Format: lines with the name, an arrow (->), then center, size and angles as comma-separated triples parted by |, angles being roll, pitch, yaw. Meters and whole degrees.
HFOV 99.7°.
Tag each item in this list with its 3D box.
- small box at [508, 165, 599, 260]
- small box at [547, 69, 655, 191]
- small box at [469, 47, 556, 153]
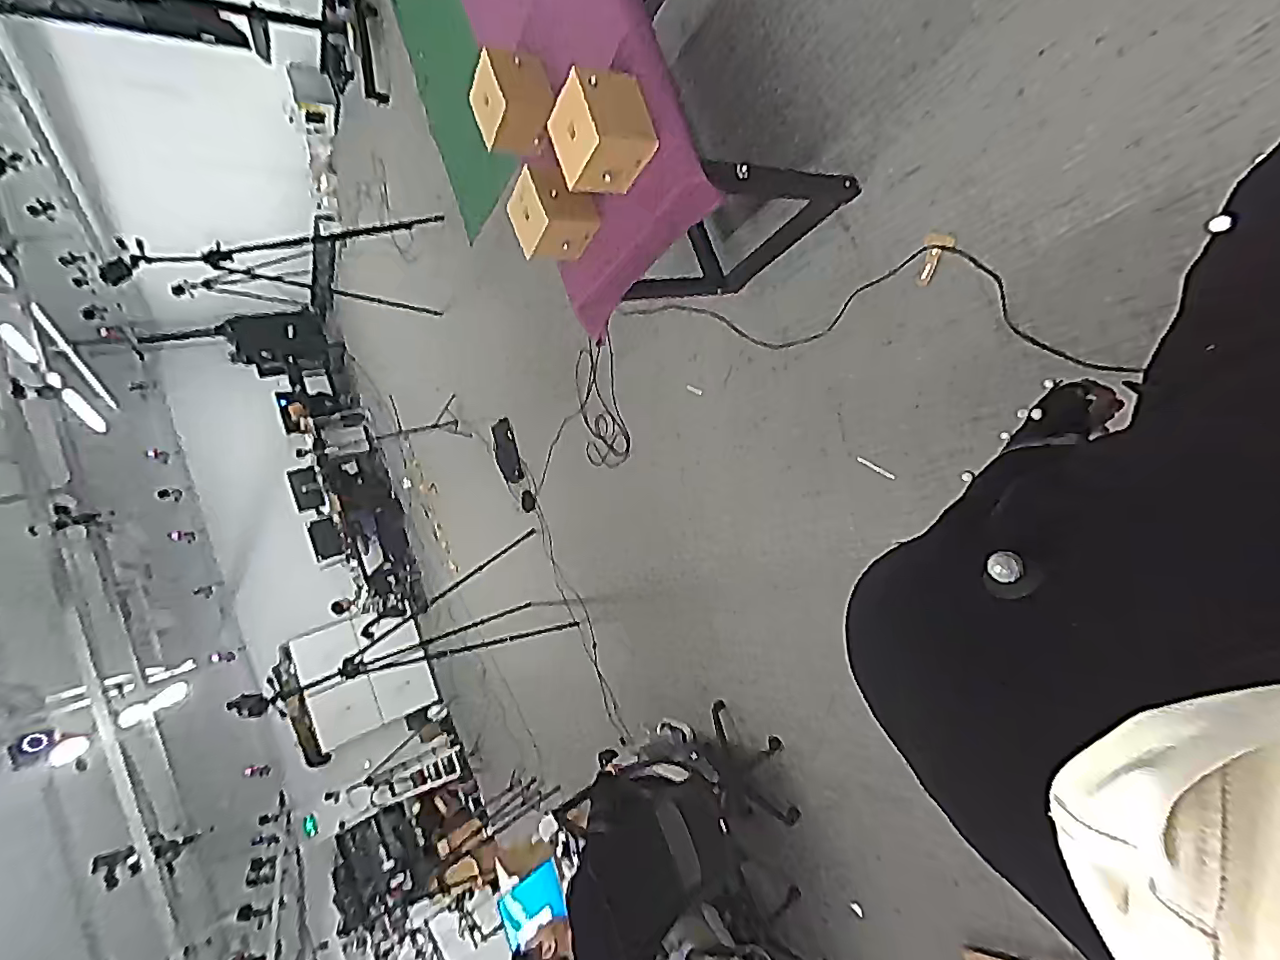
small box -> -0.238, -0.734, 1.494 | 0.168, 0.176, 0.179 | -30, 80, 55
small box -> -0.088, -0.801, 1.254 | 0.168, 0.176, 0.179 | -24, 85, 57
small box -> -0.352, -1.052, 1.514 | 0.168, 0.176, 0.179 | -27, 83, 56
